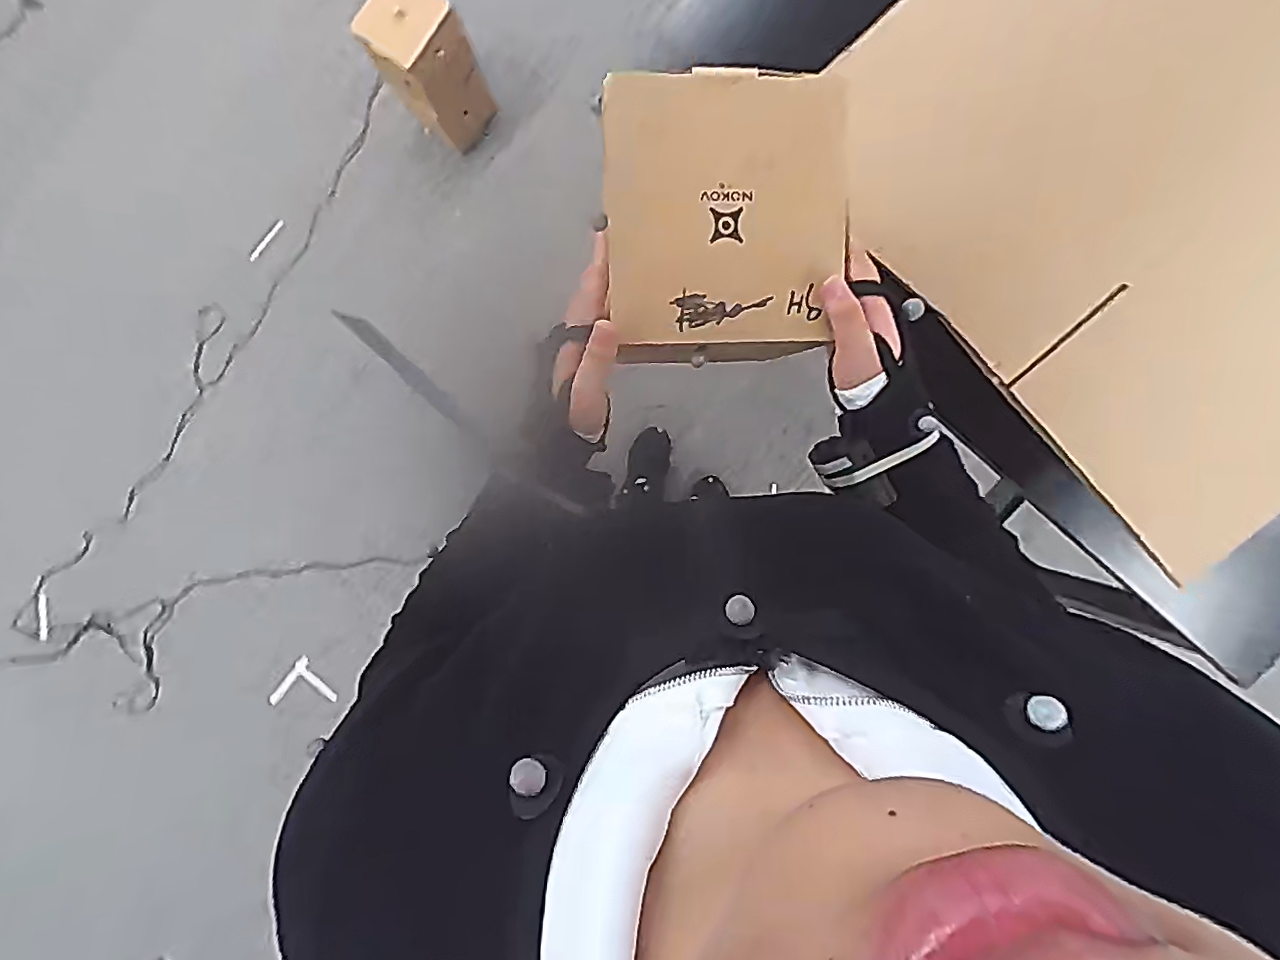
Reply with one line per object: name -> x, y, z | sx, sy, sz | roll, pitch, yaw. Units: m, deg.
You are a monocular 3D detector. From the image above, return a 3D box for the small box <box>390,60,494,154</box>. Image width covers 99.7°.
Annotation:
small box -> -0.509, -1.019, 1.427 | 0.168, 0.176, 0.179 | 39, 94, 2

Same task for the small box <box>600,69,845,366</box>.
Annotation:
small box -> 0.053, -0.193, 0.445 | 0.168, 0.176, 0.179 | -3, 97, -3

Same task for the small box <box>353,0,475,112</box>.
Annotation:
small box -> -0.516, -1.021, 1.264 | 0.168, 0.176, 0.179 | 36, 92, 1
